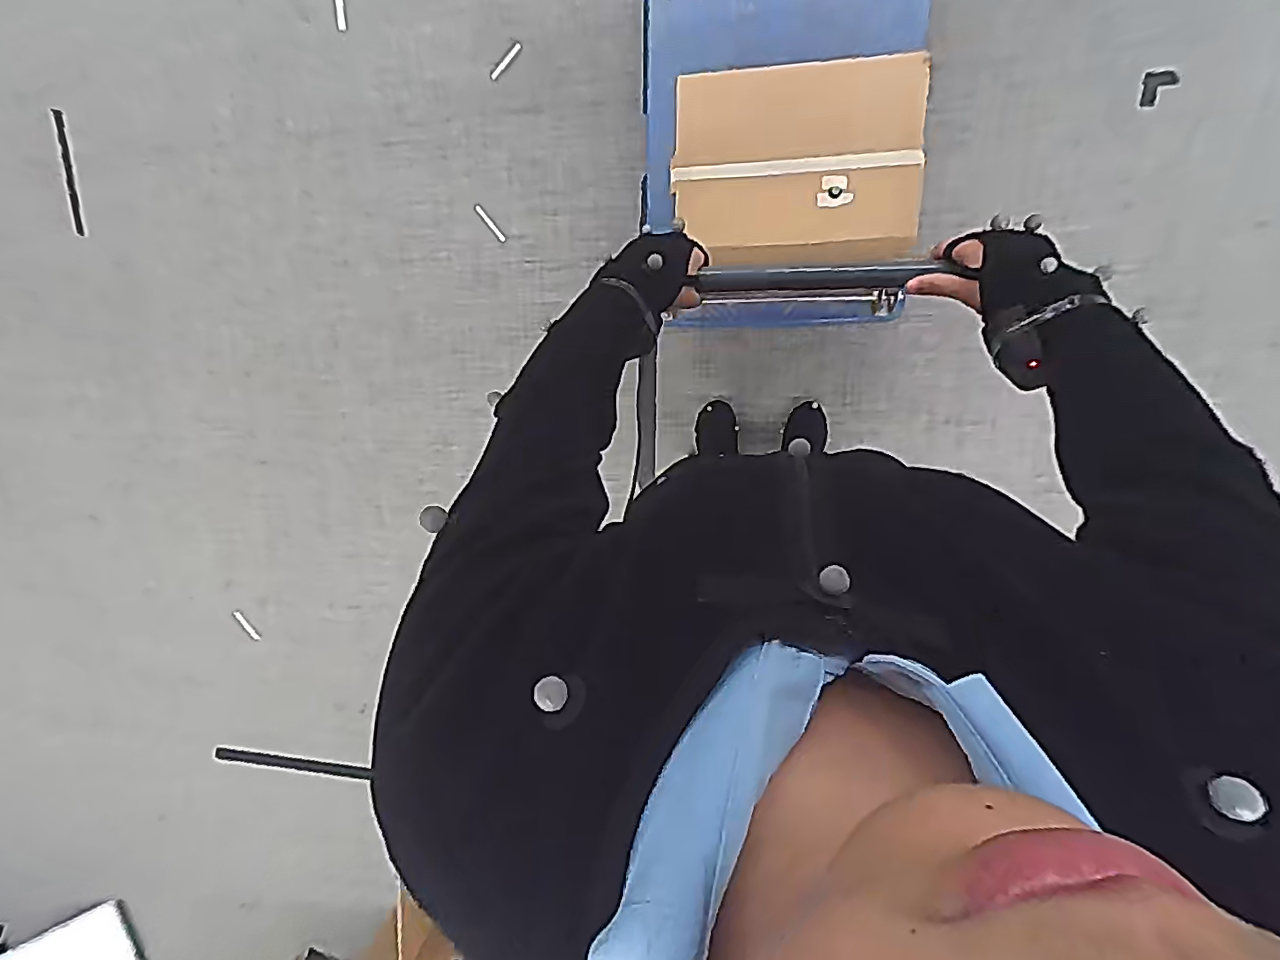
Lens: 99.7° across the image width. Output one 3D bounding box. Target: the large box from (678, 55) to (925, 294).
[{"bbox_3d":[0.287,-0.561,1.069,0.408,0.320,0.320,1,101,9],"label":"large box"}]
